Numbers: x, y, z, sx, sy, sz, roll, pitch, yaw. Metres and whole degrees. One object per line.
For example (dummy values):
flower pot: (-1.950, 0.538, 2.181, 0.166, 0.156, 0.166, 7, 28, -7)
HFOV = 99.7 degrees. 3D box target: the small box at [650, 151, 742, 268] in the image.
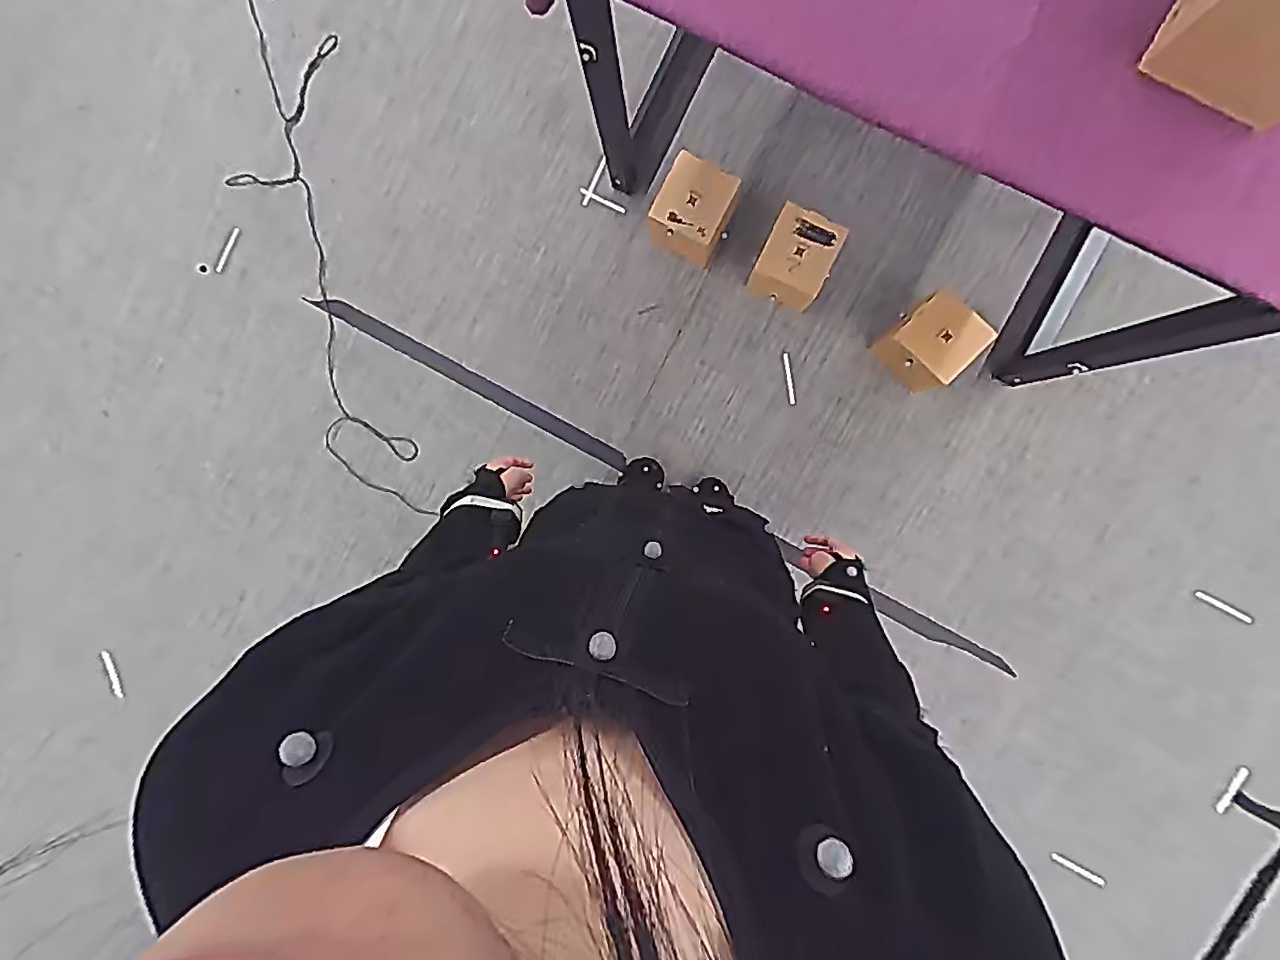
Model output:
small box: (0.136, -0.675, 1.369, 0.168, 0.176, 0.179, 29, 93, 2)

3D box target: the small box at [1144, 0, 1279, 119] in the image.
small box: (0.745, -0.549, 0.601, 0.179, 0.176, 0.168, 30, 94, 2)

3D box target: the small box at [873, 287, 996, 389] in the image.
small box: (0.721, -0.342, 1.347, 0.179, 0.176, 0.168, 45, 96, 2)
